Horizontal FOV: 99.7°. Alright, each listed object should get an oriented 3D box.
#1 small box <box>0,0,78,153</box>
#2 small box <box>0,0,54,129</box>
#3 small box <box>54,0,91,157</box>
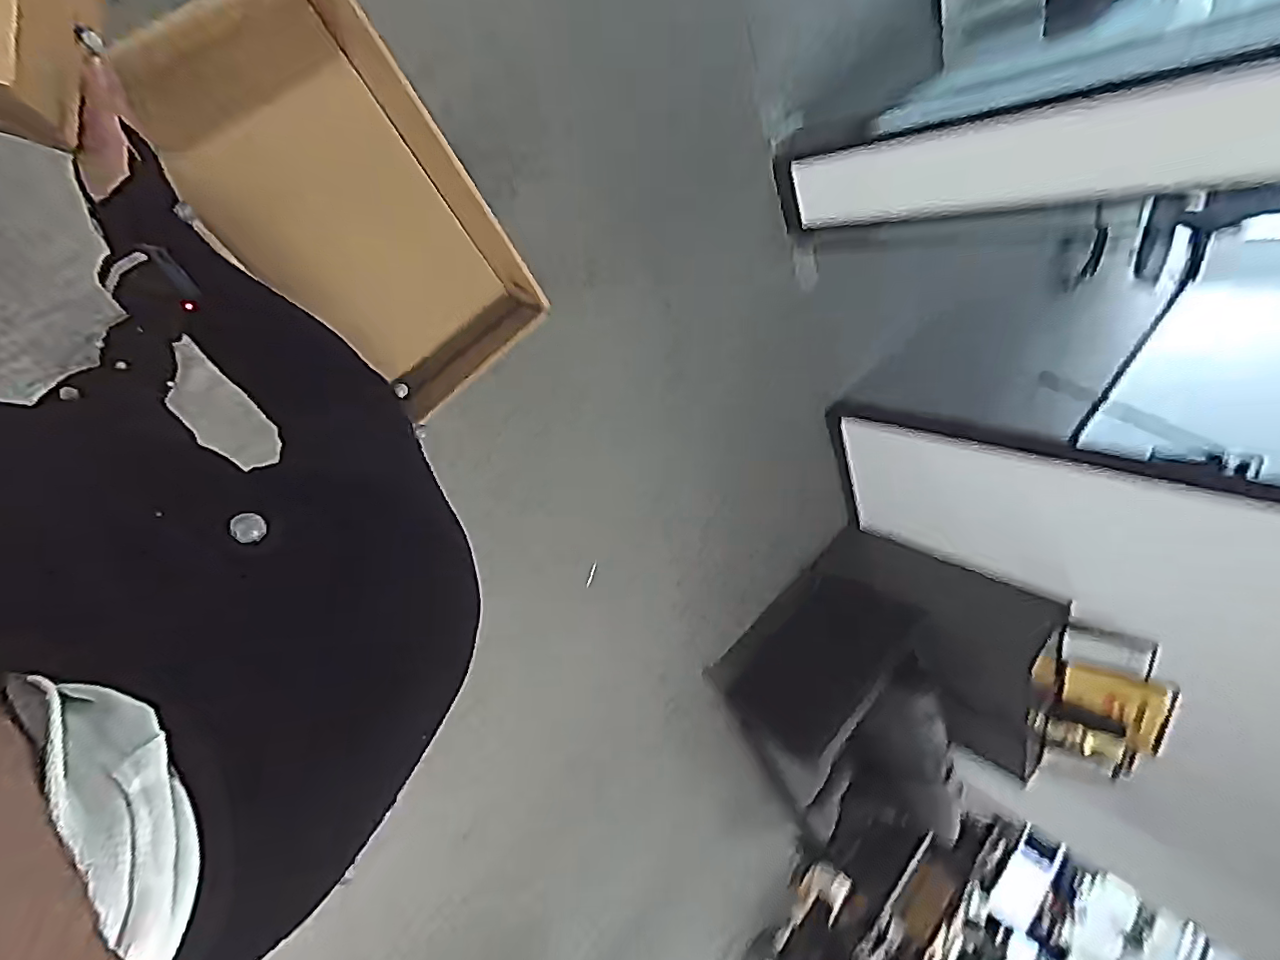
[{"bbox_3d":[-0.479,-0.334,0.341,0.168,0.176,0.179,2,107,-44],"label":"small box"},{"bbox_3d":[-0.375,-0.284,0.226,0.168,0.176,0.179,4,107,-44],"label":"small box"},{"bbox_3d":[-0.585,-0.395,0.453,0.168,0.176,0.179,-2,110,-42],"label":"small box"}]
